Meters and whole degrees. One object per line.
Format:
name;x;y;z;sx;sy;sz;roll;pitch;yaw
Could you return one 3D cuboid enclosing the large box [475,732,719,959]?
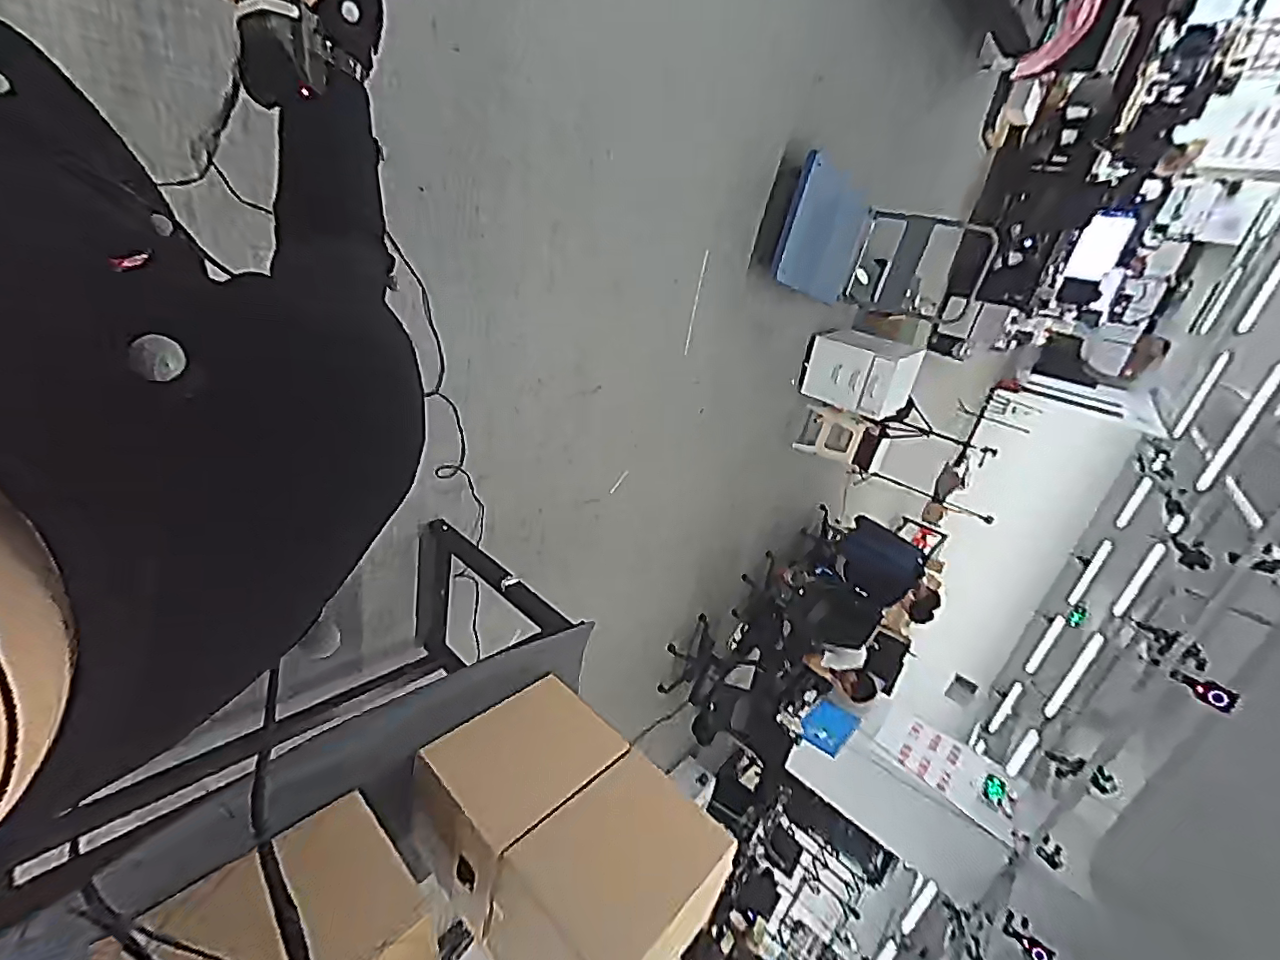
large box;-0.093;0.855;1.190;0.408;0.320;0.320;-14;125;-48
